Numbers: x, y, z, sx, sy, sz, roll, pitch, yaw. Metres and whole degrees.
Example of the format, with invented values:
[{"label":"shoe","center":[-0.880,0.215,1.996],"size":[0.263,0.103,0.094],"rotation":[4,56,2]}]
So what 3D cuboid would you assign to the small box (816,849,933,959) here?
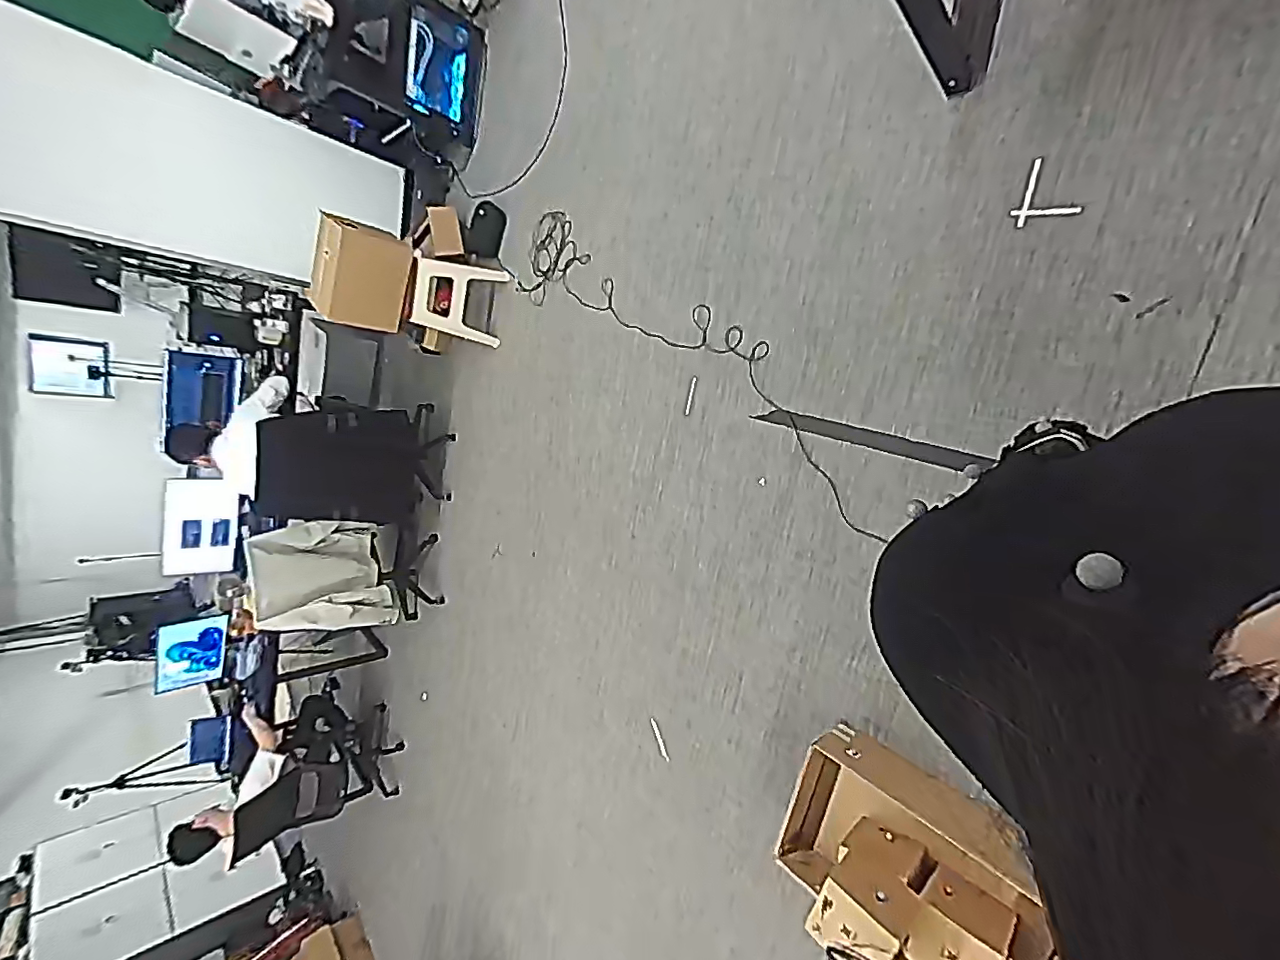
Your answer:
[{"label":"small box","center":[0.549,1.017,1.257],"size":[0.179,0.176,0.168],"rotation":[28,108,39]}]
